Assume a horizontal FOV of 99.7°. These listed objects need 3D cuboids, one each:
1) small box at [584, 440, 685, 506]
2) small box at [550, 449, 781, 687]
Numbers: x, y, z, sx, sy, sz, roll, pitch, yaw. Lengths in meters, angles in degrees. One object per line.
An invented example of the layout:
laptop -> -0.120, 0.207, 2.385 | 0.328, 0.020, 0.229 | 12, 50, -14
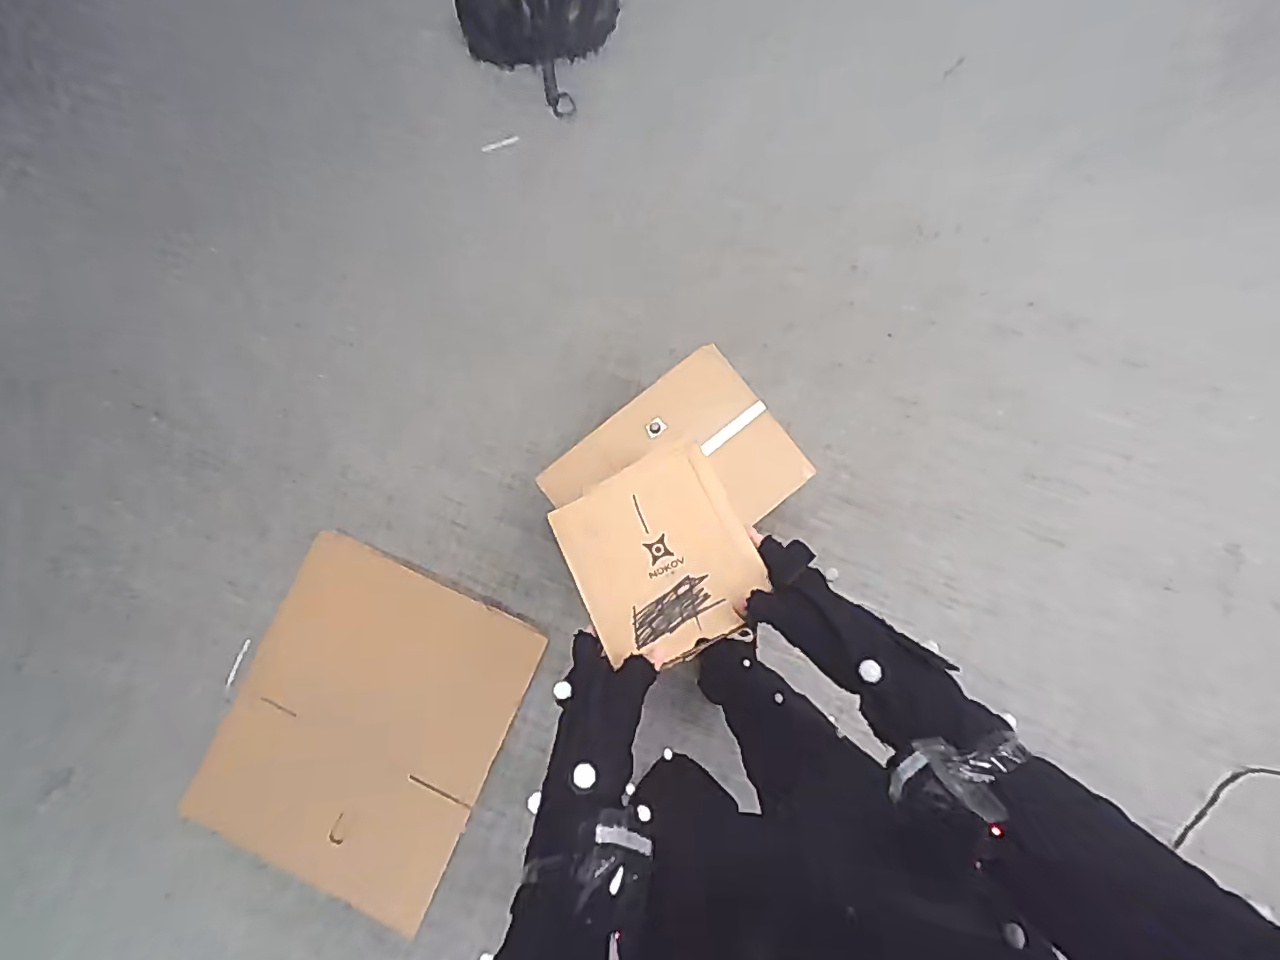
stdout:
small box -> 0.036, 0.065, 0.873 | 0.179, 0.176, 0.168 | -33, 80, -2
small box -> 0.031, 0.094, 0.591 | 0.168, 0.176, 0.179 | -30, 77, 0
